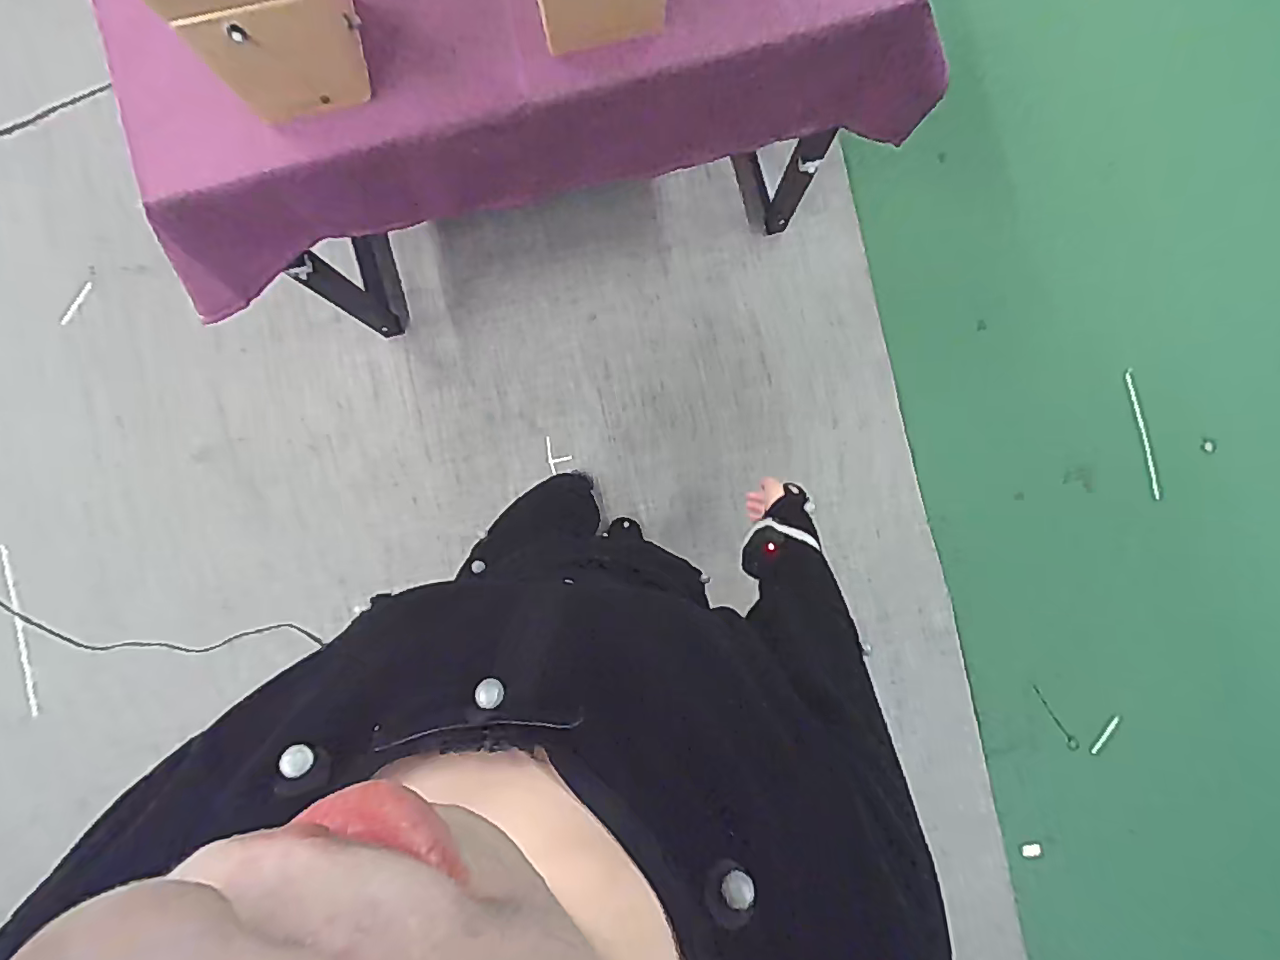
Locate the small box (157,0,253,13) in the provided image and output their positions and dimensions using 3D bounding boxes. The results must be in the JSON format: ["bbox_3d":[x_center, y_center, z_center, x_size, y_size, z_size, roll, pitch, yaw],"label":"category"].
[{"bbox_3d":[-0.484,-0.641,0.558,0.179,0.176,0.168,-11,88,0],"label":"small box"}]

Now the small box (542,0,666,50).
[{"bbox_3d":[-0.060,-0.730,0.729,0.179,0.176,0.168,-13,88,-1],"label":"small box"}]

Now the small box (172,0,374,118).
[{"bbox_3d":[-0.486,-0.635,0.721,0.168,0.176,0.179,-12,87,0],"label":"small box"}]
